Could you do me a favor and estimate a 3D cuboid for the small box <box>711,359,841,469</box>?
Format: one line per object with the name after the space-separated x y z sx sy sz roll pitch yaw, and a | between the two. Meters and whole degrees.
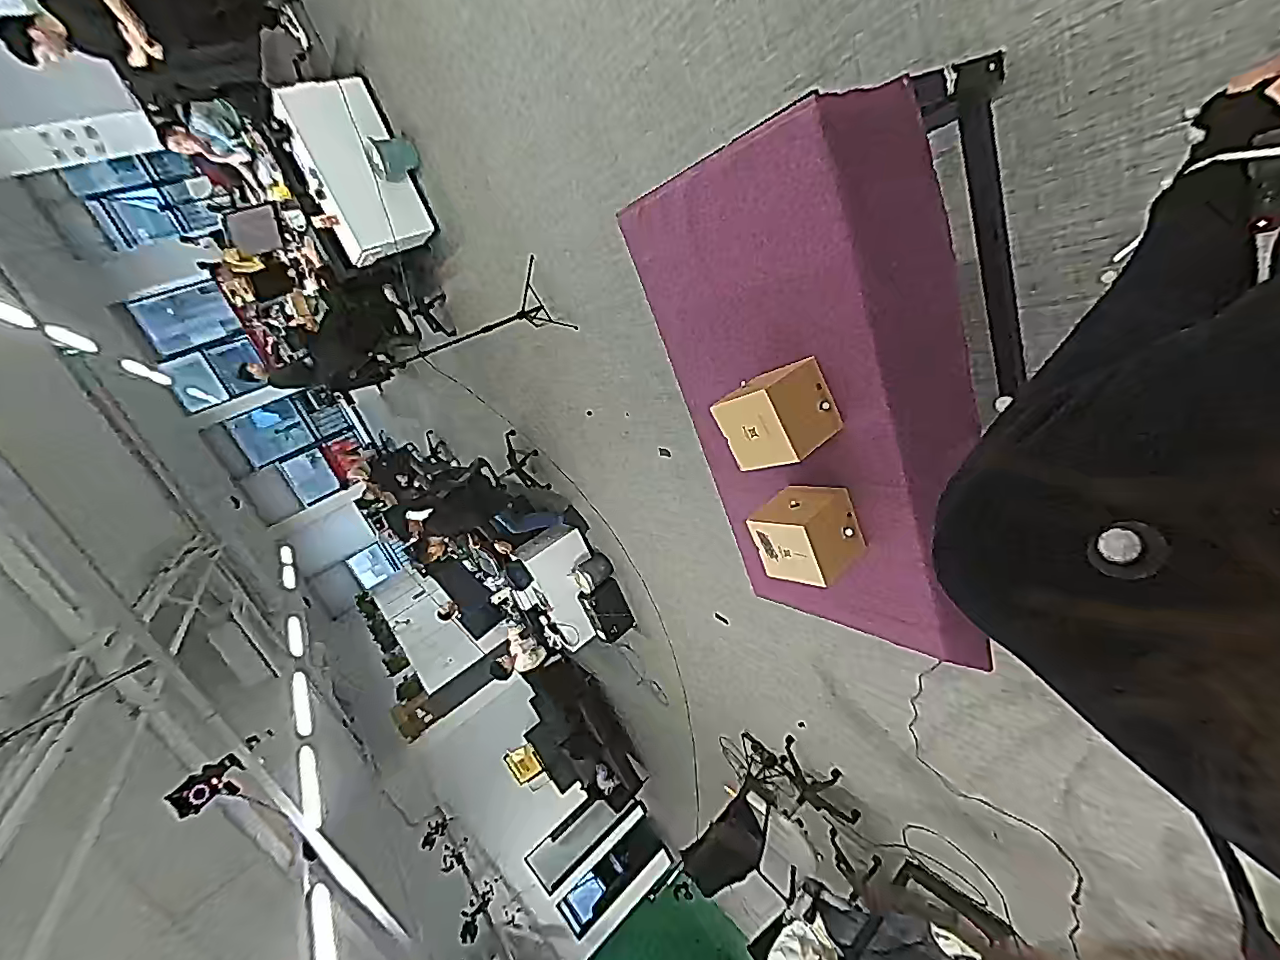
0.293 -0.139 1.164 0.179 0.176 0.168 -9 113 61 | small box

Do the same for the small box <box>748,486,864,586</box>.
0.394 0.124 1.283 0.179 0.176 0.168 2 121 57 | small box
